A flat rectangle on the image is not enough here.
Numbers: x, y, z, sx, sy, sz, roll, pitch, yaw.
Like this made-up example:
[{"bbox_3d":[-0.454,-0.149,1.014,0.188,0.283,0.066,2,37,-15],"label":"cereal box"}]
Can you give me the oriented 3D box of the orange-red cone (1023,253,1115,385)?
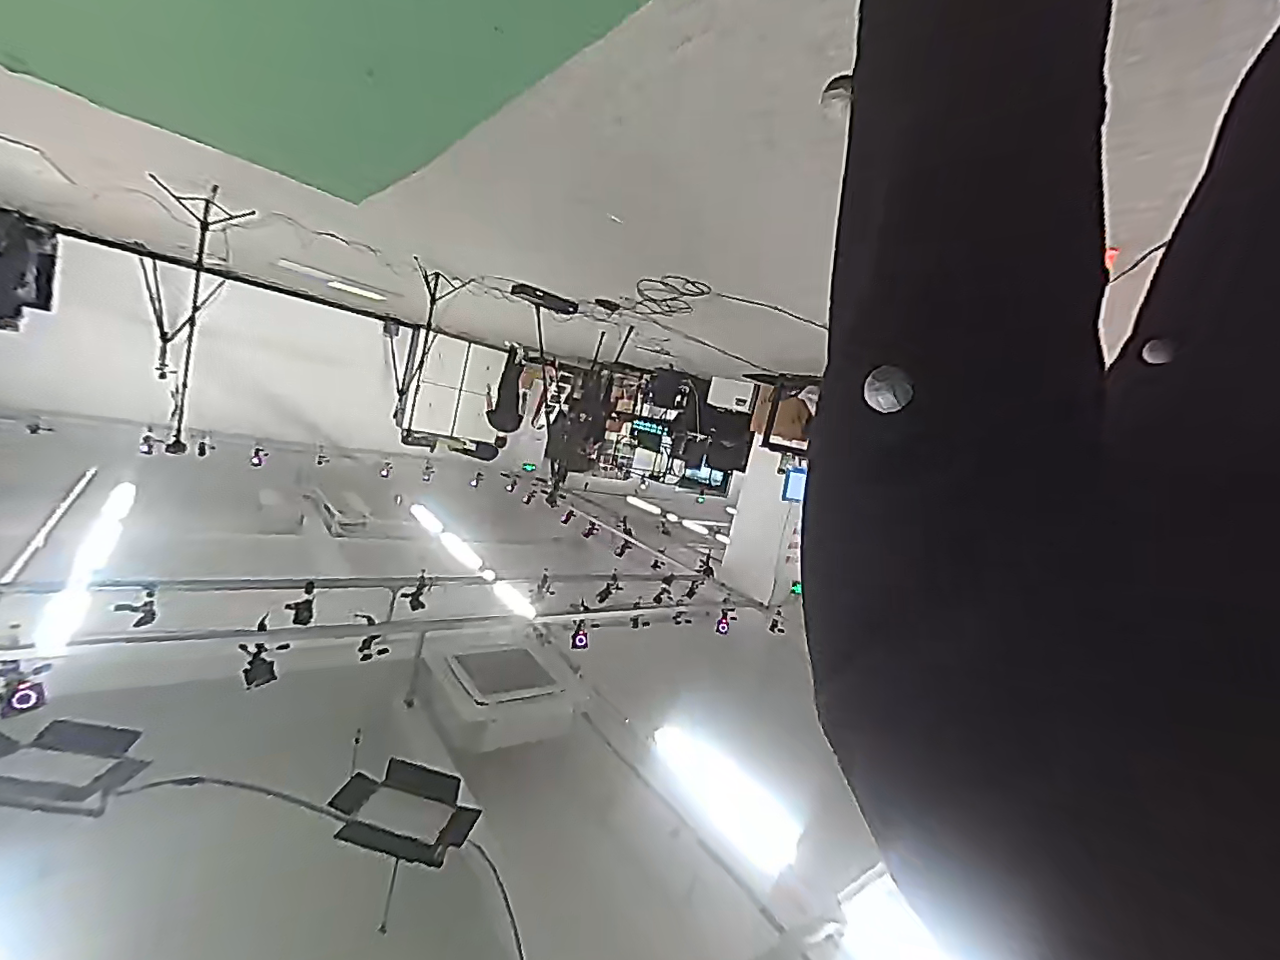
[{"bbox_3d":[1.226,-0.465,1.625,0.199,0.360,0.198,19,-173,29],"label":"orange-red cone"}]
